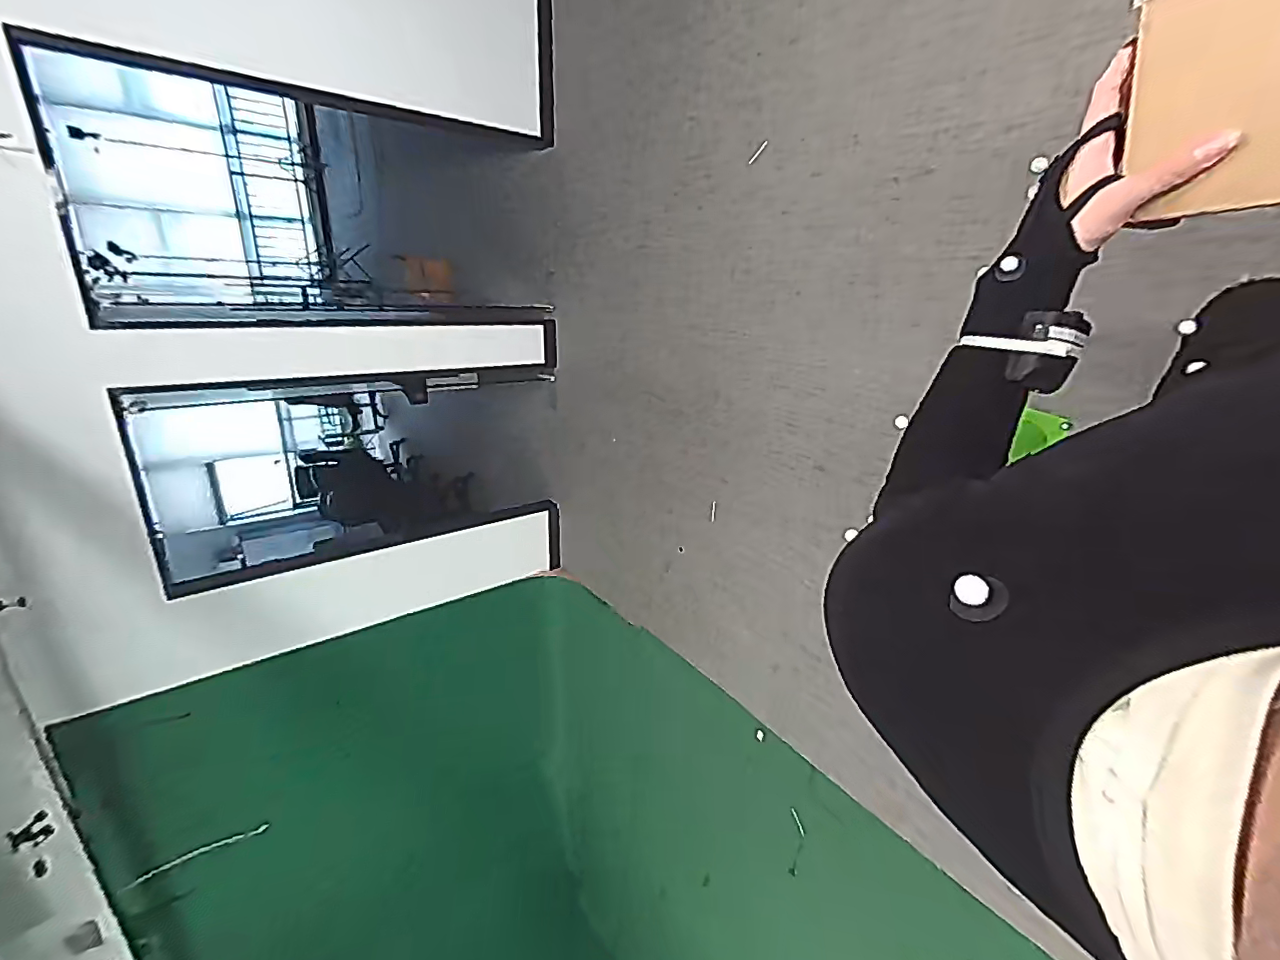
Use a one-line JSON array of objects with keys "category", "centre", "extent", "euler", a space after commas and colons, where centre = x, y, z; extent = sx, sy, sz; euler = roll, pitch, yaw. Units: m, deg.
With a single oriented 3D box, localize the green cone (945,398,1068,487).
[{"category": "green cone", "centre": [0.865, -0.068, 1.350], "extent": [0.200, 0.368, 0.202], "euler": [33, 127, 44]}]
